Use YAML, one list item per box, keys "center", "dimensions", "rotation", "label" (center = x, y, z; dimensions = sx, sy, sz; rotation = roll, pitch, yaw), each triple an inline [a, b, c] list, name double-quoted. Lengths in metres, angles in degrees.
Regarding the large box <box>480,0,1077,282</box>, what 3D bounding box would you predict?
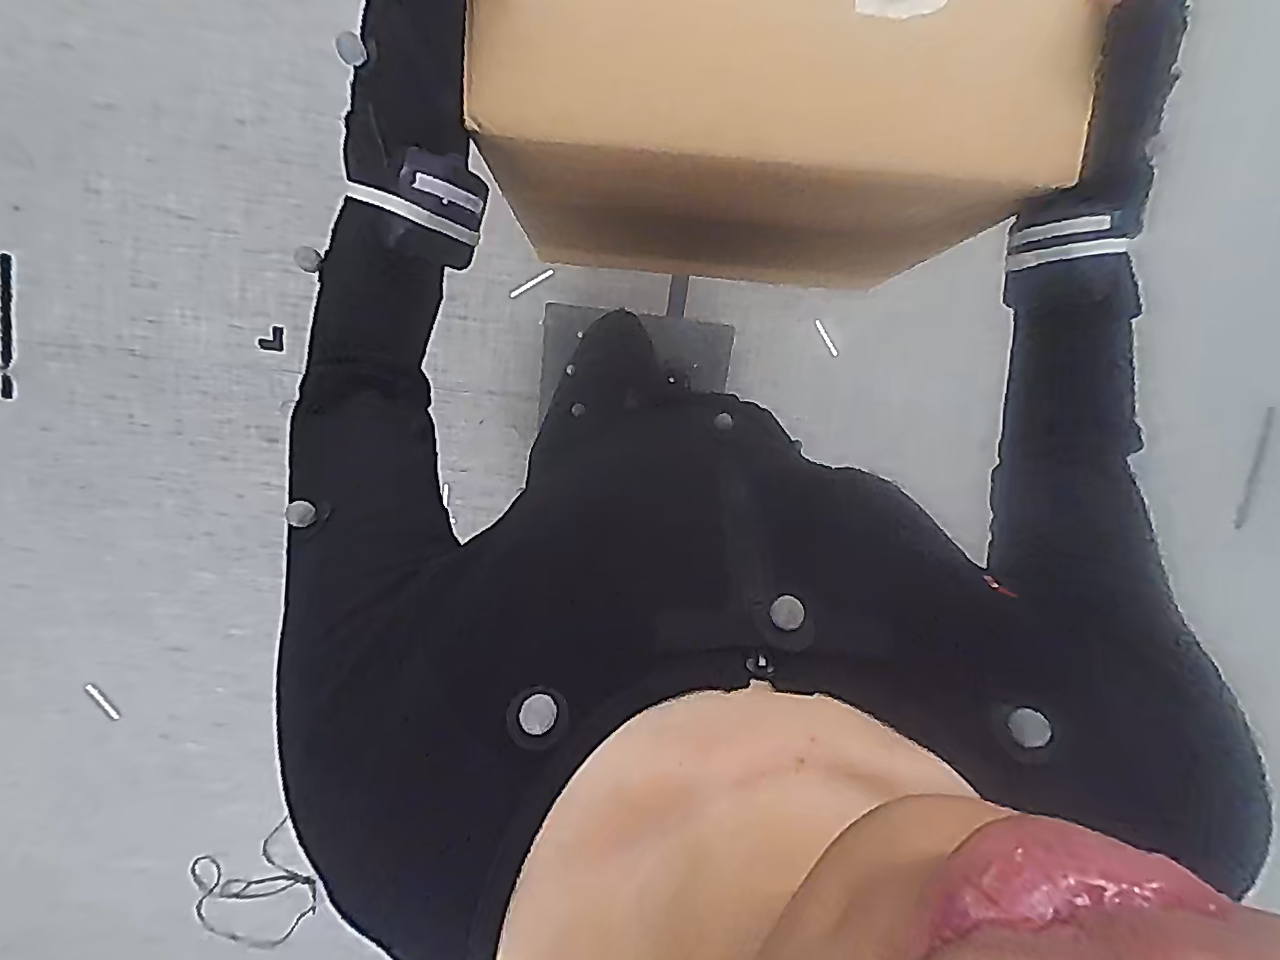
- center: [0.091, -0.388, 0.499]
  dimensions: [0.408, 0.320, 0.320]
  rotation: [4, 97, -3]
  label: "large box"
